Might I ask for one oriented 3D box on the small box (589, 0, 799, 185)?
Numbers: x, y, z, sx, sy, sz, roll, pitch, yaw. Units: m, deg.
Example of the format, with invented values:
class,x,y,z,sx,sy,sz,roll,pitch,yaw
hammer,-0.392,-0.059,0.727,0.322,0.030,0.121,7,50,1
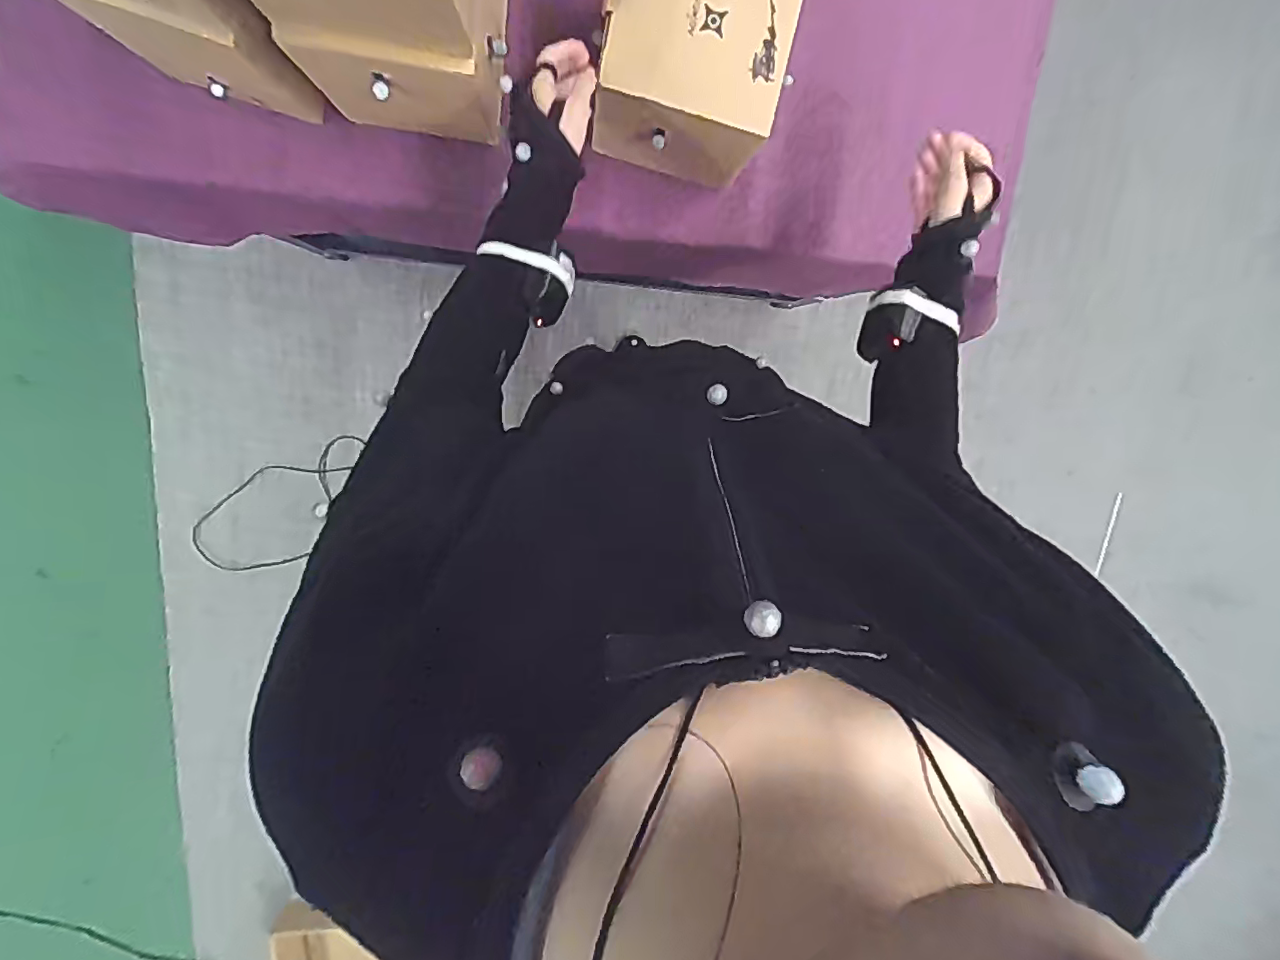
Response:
class,x,y,z,sx,sy,sz,roll,pitch,yaw
small box,0.048,-0.442,0.575,0.179,0.176,0.168,12,101,-8
